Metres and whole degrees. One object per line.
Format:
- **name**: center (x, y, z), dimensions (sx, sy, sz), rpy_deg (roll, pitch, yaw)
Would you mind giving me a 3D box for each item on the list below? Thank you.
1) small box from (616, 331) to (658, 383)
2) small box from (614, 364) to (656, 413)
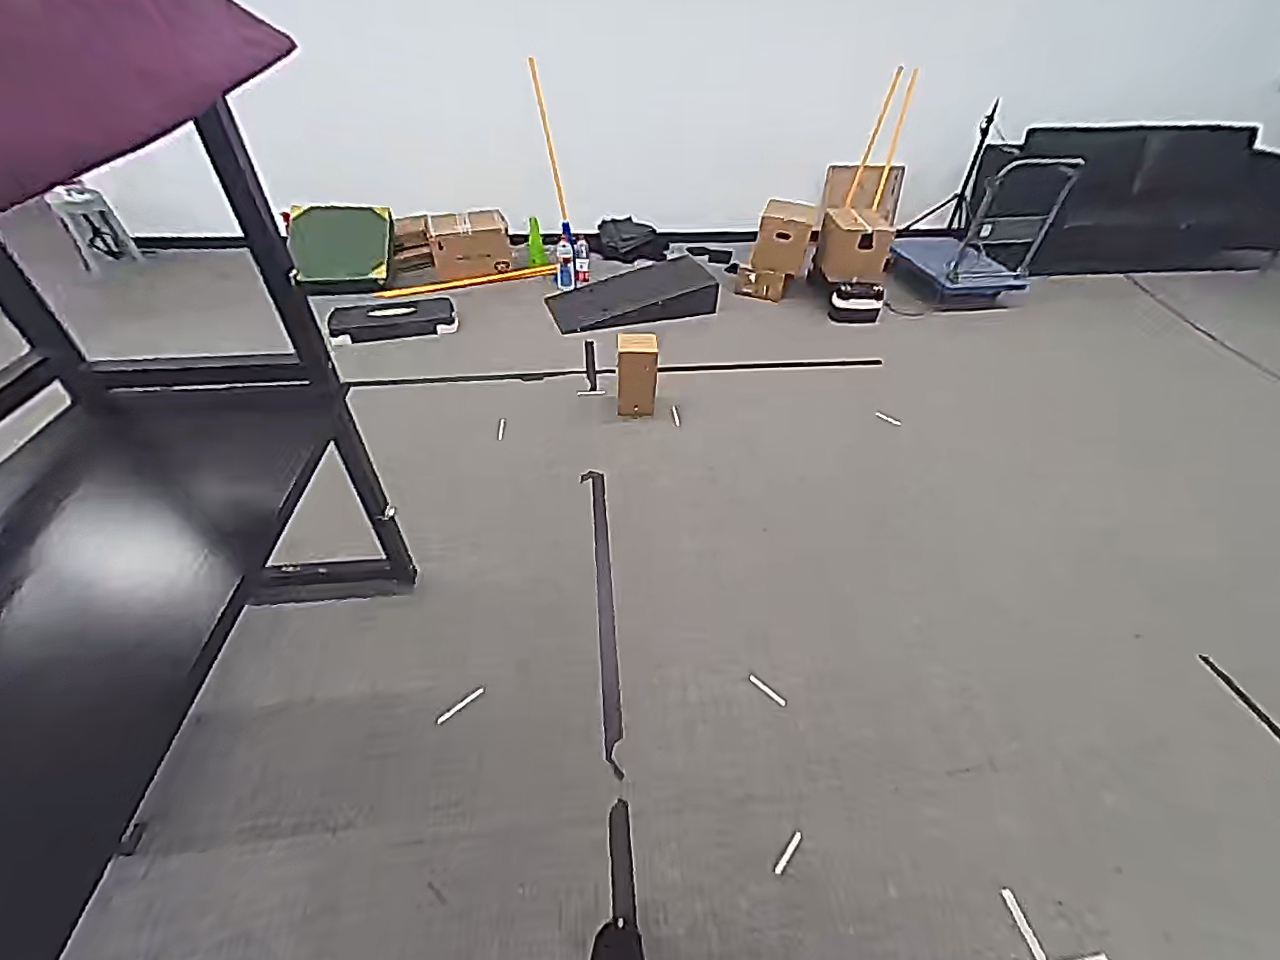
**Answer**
- **small box**: center (-0.016, -0.546, 2.411), dimensions (0.179, 0.176, 0.168), rpy_deg (0, 42, -2)
- **small box**: center (-0.027, -0.427, 2.522), dimensions (0.179, 0.176, 0.168), rpy_deg (-1, 42, -6)
